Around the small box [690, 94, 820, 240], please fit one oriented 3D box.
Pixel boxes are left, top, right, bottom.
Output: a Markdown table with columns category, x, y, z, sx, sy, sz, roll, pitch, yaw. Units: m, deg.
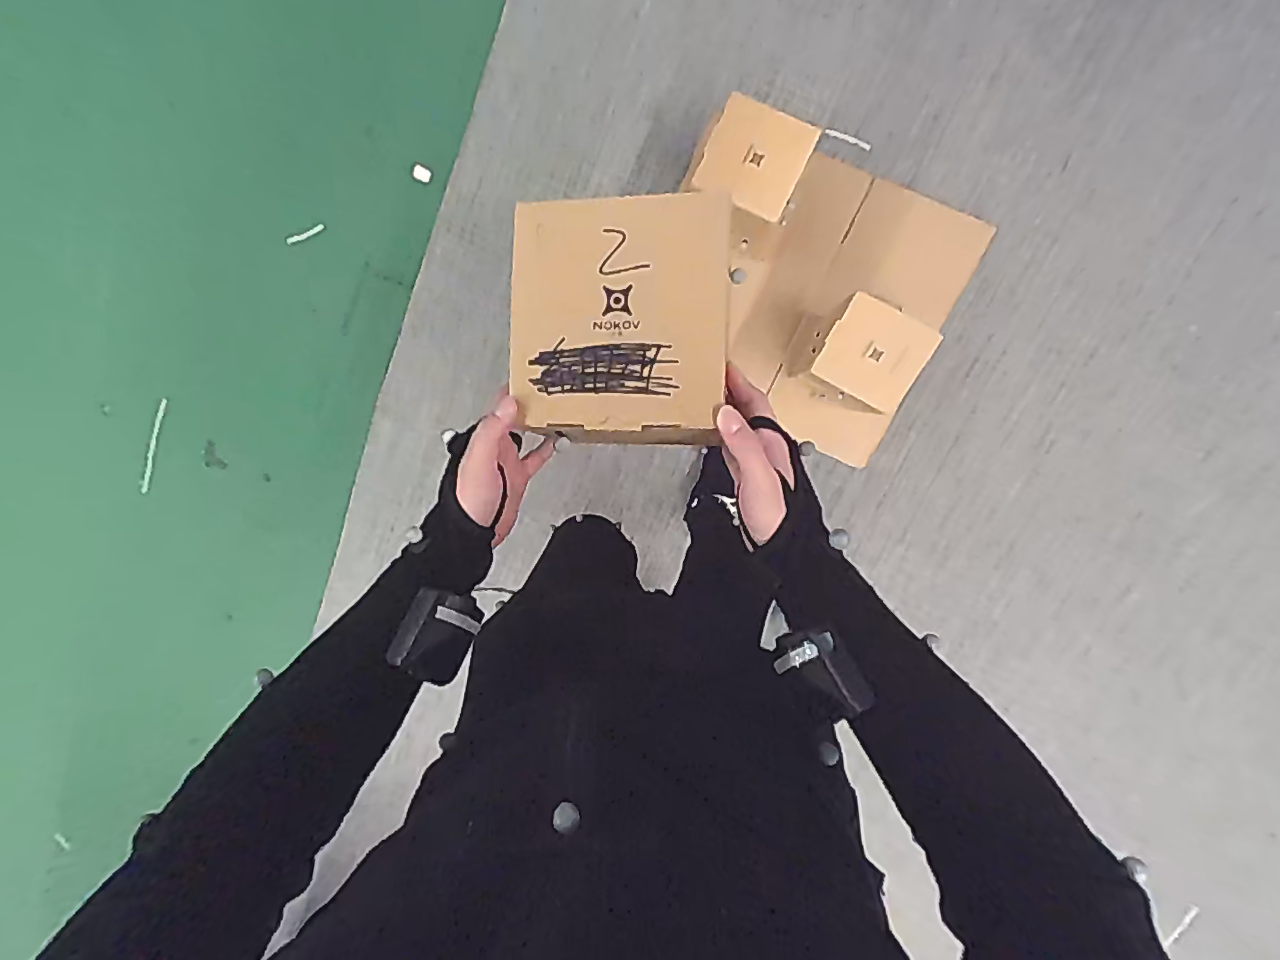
| category | x | y | z | sx | sy | sz | roll | pitch | yaw |
| --- | --- | --- | --- | --- | --- | --- | --- | --- | --- |
| small box | 0.214 | -0.579 | 1.029 | 0.179 | 0.176 | 0.168 | 27 | 103 | 4 |

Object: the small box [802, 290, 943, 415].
| category | x | y | z | sx | sy | sz | roll | pitch | yaw |
| --- | --- | --- | --- | --- | --- | --- | --- | --- | --- |
| small box | 0.436 | -0.241 | 1.053 | 0.179 | 0.176 | 0.168 | 31 | 104 | 3 |

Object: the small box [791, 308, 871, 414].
| category | x | y | z | sx | sy | sz | roll | pitch | yaw |
| --- | --- | --- | --- | --- | --- | --- | --- | --- | --- |
| small box | 0.461 | -0.265 | 1.213 | 0.179 | 0.176 | 0.168 | 28 | 102 | 3 |

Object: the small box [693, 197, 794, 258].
| category | x | y | z | sx | sy | sz | roll | pitch | yaw |
| --- | --- | --- | --- | --- | --- | --- | --- | --- | --- |
| small box | 0.233 | -0.609 | 1.186 | 0.179 | 0.176 | 0.168 | 27 | 102 | 4 |
